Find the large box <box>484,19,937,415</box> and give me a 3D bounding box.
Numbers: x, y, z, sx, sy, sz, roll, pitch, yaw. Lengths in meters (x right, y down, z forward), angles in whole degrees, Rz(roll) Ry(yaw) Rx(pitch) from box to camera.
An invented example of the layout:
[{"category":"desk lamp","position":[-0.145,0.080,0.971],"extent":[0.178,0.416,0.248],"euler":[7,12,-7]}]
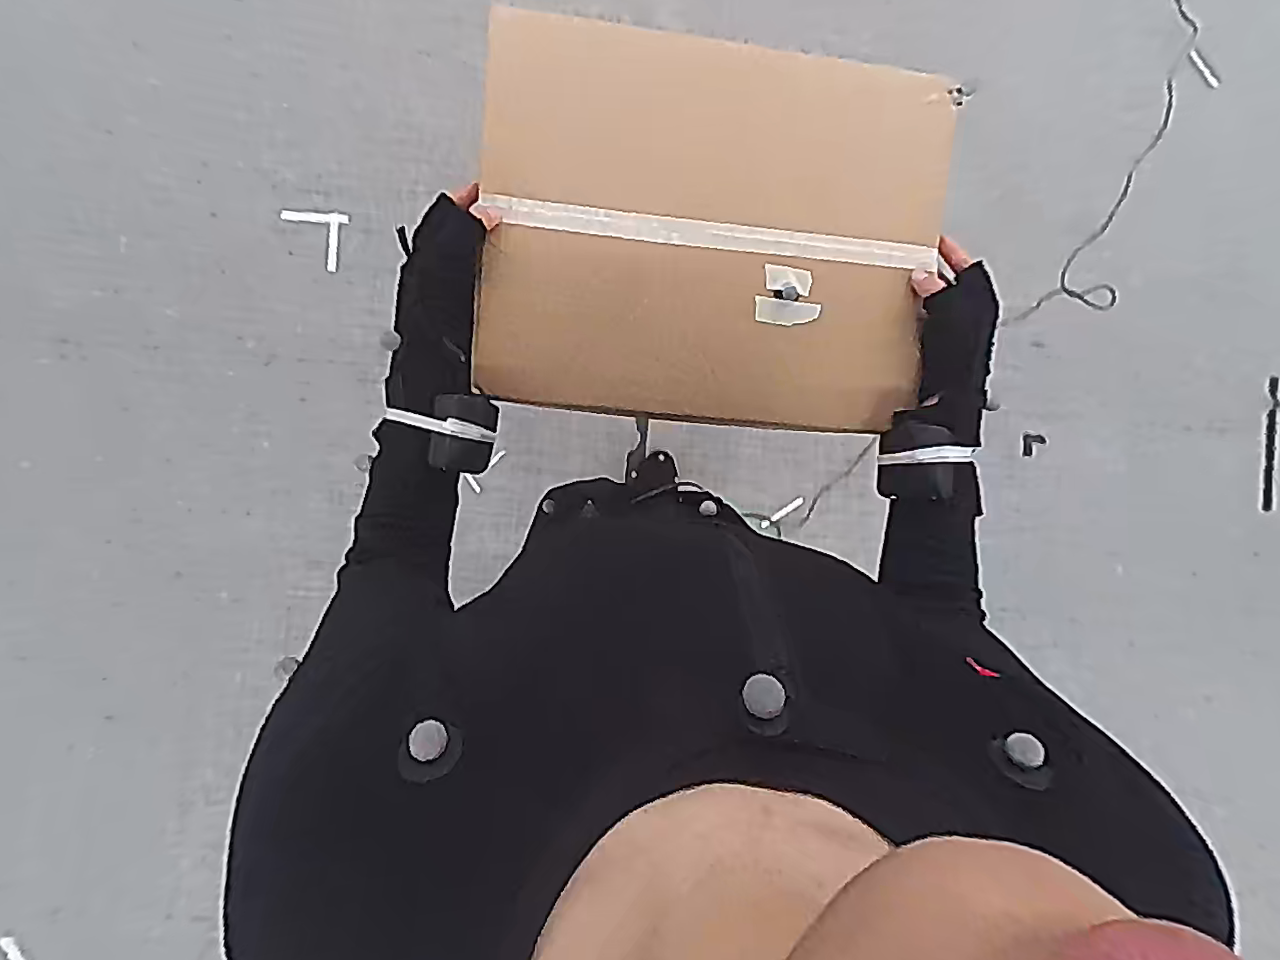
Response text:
[{"category":"large box","position":[0.049,-0.241,0.631],"extent":[0.408,0.320,0.320],"euler":[3,97,-6]}]
